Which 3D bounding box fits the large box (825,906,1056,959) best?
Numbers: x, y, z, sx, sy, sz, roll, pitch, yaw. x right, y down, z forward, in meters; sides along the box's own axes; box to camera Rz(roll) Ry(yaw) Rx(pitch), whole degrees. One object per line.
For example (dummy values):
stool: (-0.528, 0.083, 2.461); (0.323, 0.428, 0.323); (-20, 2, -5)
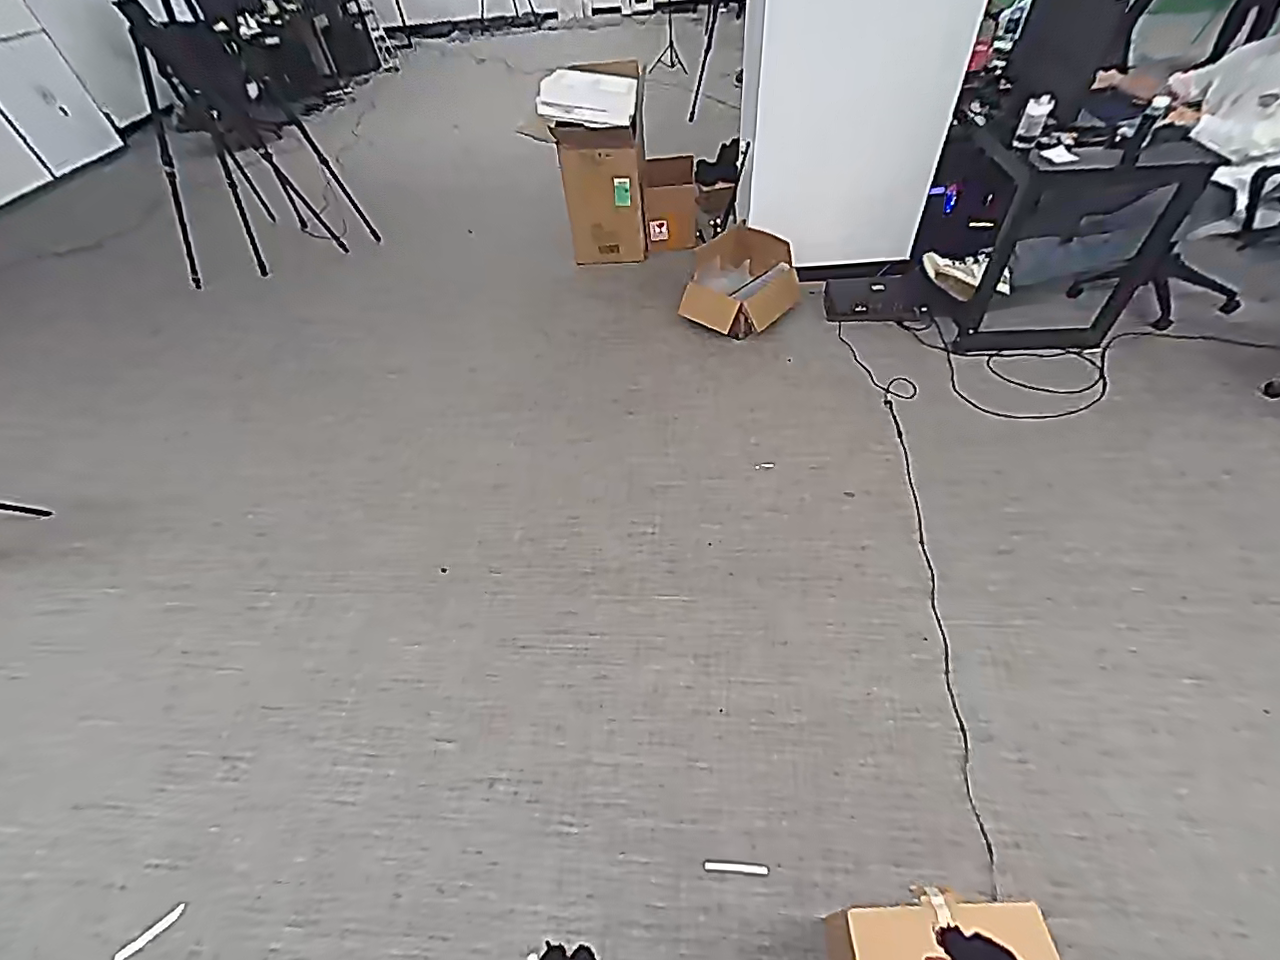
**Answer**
large box: (0.531, 0.974, 0.894); (0.320, 0.320, 0.408); (-6, 49, 4)
